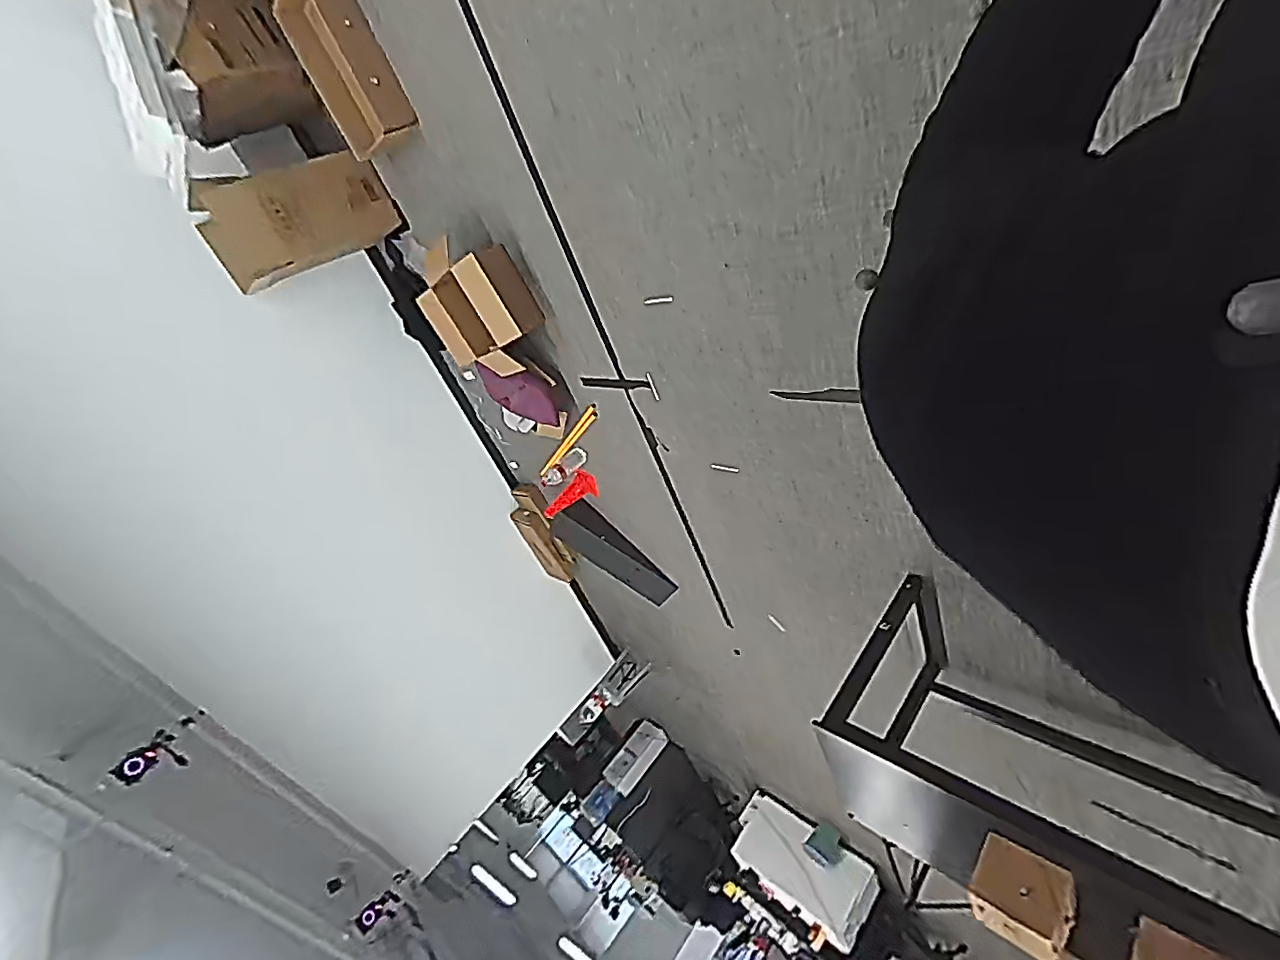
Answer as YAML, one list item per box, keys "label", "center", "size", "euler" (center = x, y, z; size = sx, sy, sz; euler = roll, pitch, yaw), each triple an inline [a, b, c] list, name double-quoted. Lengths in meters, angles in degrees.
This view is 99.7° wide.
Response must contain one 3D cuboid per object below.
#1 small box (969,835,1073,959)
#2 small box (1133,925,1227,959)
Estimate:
- label: "small box"
  center: [0.951, 1.035, 1.341]
  size: [0.179, 0.176, 0.168]
  euler: [7, 132, 50]
- label: "small box"
  center: [1.148, 1.082, 1.128]
  size: [0.179, 0.176, 0.168]
  euler: [6, 132, 49]
